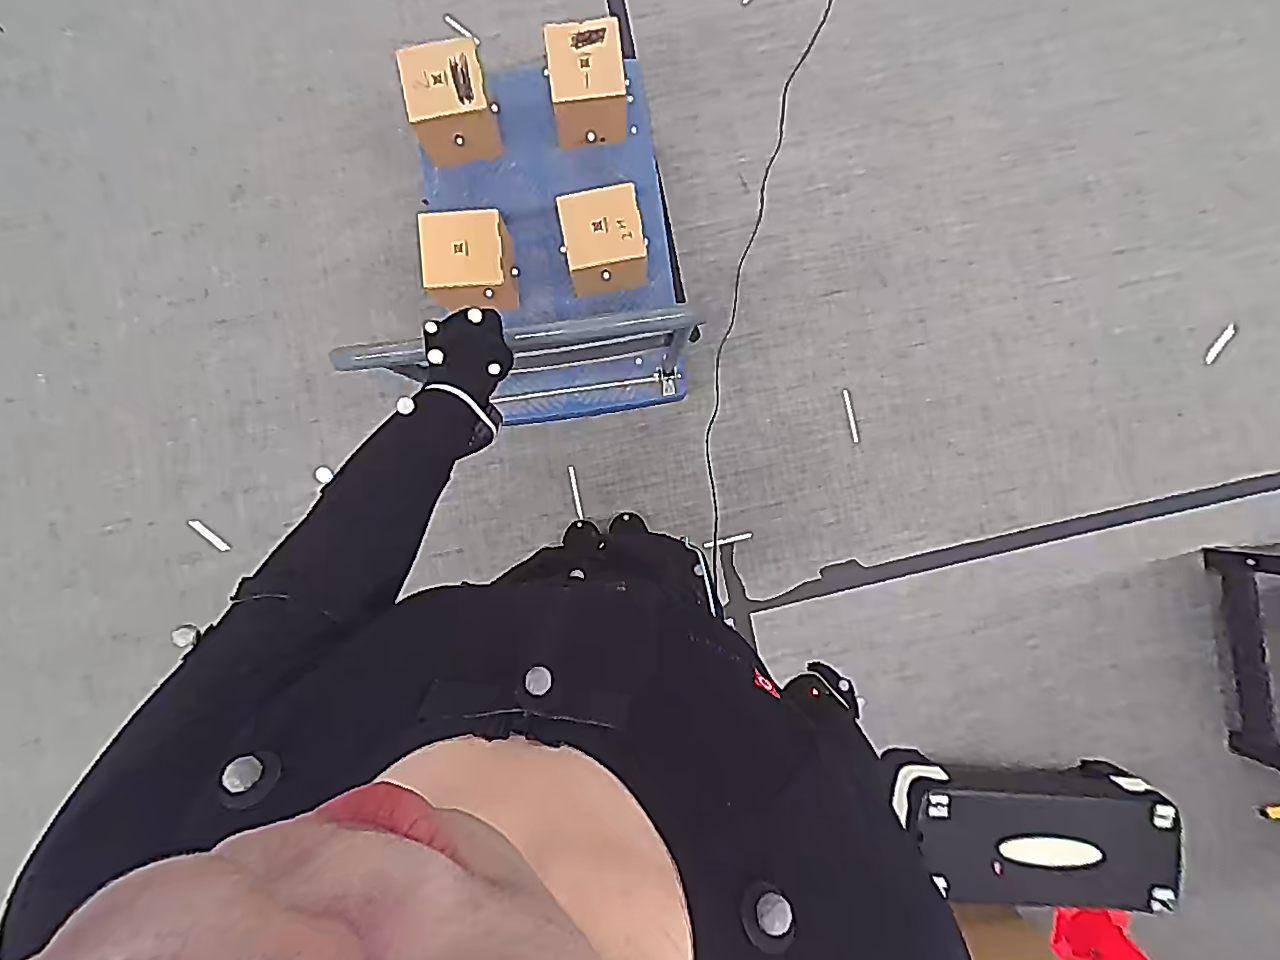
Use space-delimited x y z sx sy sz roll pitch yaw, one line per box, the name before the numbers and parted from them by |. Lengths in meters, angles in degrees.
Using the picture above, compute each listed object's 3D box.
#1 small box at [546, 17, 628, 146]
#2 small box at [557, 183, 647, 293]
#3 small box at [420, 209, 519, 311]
small box | -0.119 -0.919 1.259 0.168 0.176 0.179 -7 90 -1
small box | -0.081 -0.551 1.253 0.179 0.176 0.168 -11 90 0
small box | -0.387 -0.500 1.250 0.179 0.176 0.168 -5 89 -2
